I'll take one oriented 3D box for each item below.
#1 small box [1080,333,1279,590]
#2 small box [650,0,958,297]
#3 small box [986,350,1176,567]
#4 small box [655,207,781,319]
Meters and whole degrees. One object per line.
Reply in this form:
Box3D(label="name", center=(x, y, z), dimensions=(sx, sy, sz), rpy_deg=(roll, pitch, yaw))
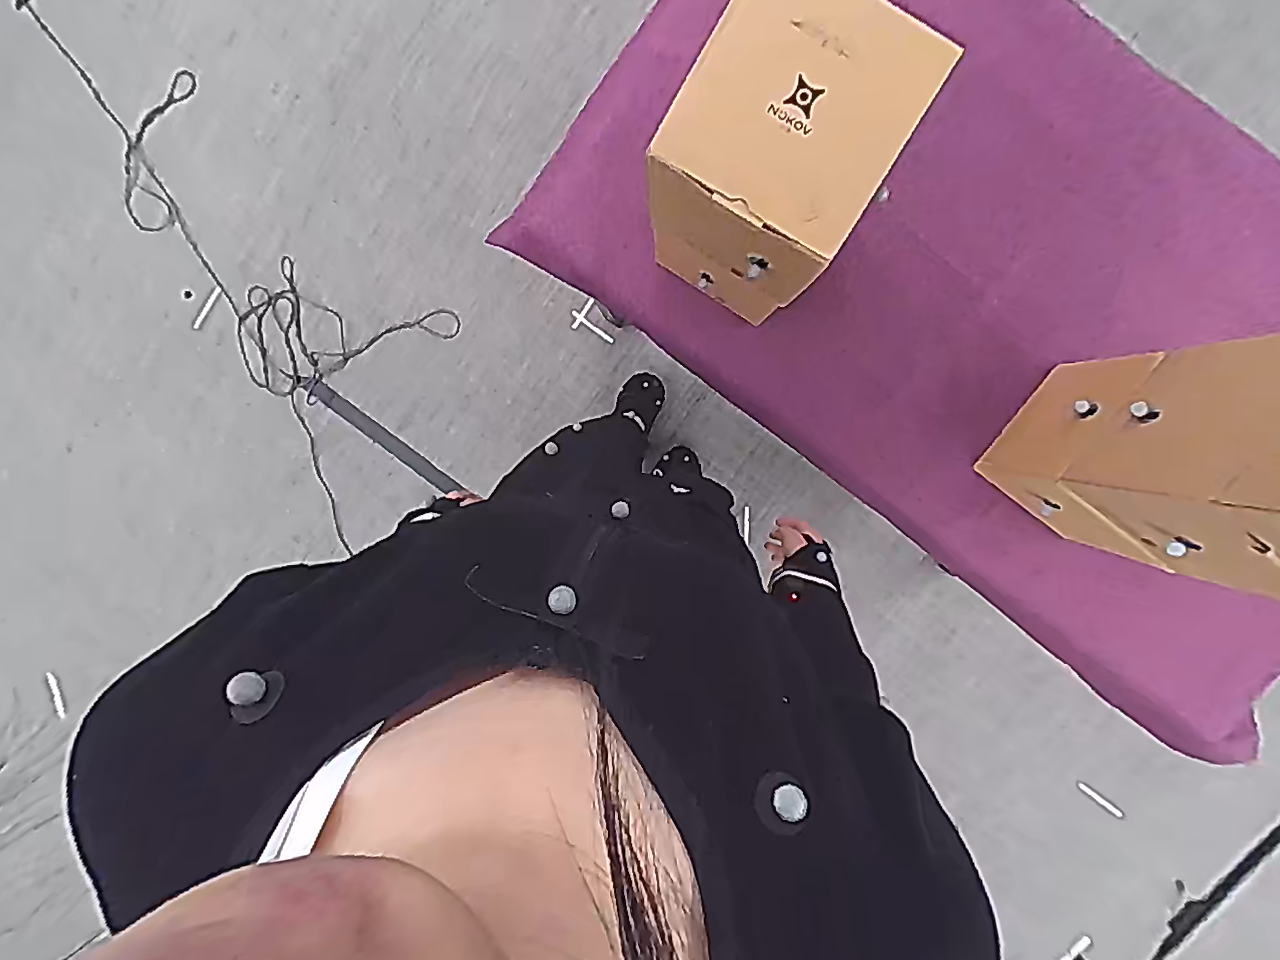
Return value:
Box3D(label="small box", center=(0.560, -0.013, 0.491), dimensions=(0.168, 0.176, 0.179), rpy_deg=(37, 97, -2))
Box3D(label="small box", center=(0.123, -0.288, 0.478), dimensions=(0.168, 0.176, 0.179), rpy_deg=(31, 96, -2))
Box3D(label="small box", center=(0.566, -0.028, 0.654), dimensions=(0.168, 0.176, 0.179), rpy_deg=(37, 97, -1))
Box3D(label="small box", center=(0.133, -0.315, 0.638), dimensions=(0.168, 0.176, 0.179), rpy_deg=(32, 97, -2))
